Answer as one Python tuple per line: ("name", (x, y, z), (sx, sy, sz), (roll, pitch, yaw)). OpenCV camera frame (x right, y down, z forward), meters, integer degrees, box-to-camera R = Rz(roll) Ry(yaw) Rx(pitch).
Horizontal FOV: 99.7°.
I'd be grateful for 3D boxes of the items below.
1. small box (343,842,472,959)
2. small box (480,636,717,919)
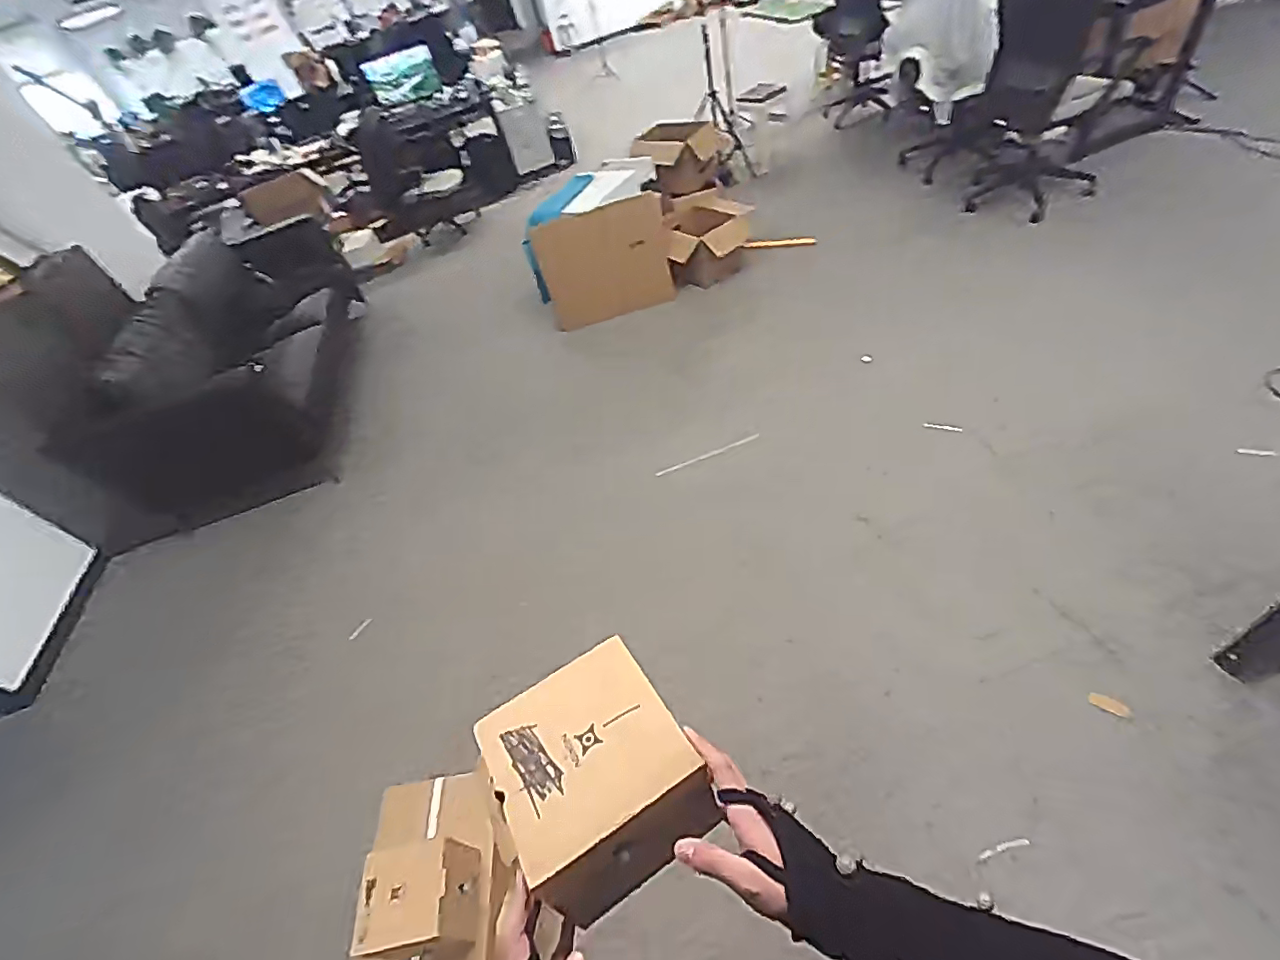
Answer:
("small box", (-0.457, 0.862, 1.098), (0.179, 0.176, 0.168), (-15, 45, 2))
("small box", (-0.036, 0.308, 0.564), (0.179, 0.176, 0.168), (-27, 43, -16))
